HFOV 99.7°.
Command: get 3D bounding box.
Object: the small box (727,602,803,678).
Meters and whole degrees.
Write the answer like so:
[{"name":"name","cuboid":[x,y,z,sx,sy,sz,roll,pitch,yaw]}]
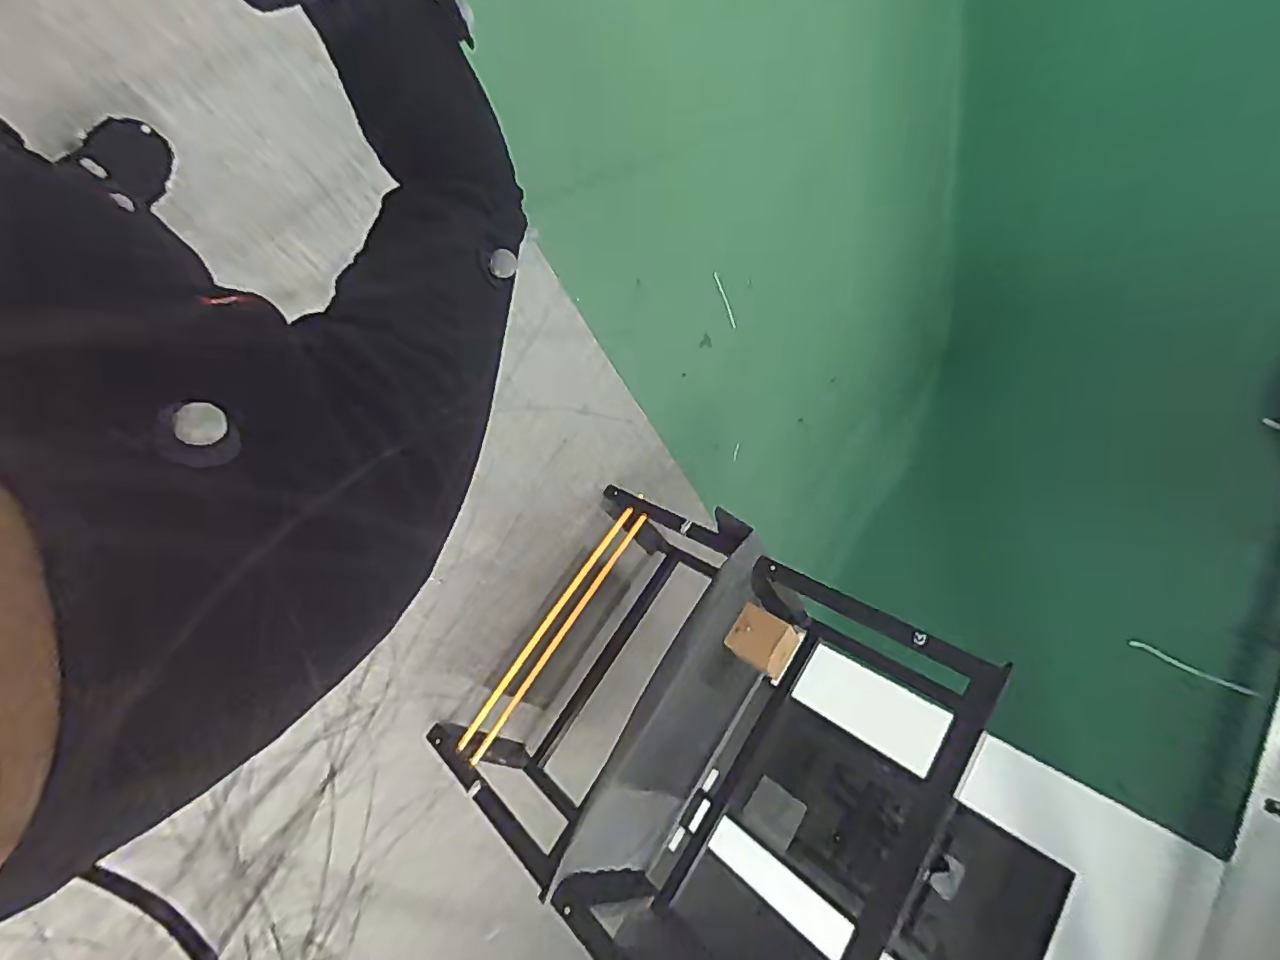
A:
[{"name":"small box","cuboid":[0.424,0.540,1.836,0.168,0.176,0.179,-55,140,-14]}]
